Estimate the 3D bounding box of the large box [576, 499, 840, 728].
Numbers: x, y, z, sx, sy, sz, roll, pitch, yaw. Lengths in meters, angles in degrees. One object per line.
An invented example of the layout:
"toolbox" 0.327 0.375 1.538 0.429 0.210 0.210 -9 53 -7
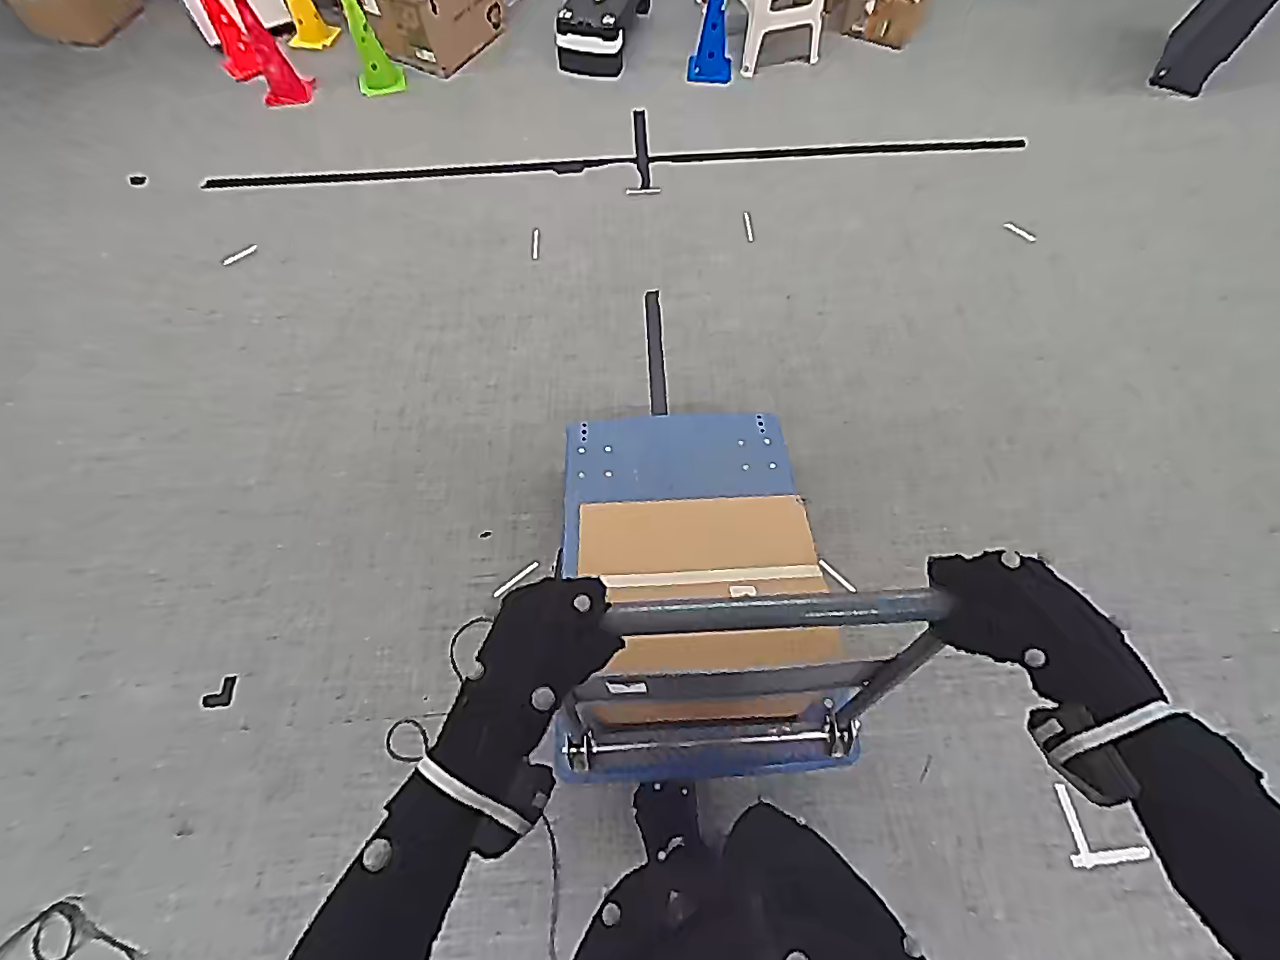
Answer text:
"large box" 0.093 0.255 1.007 0.408 0.320 0.320 -2 55 -2
